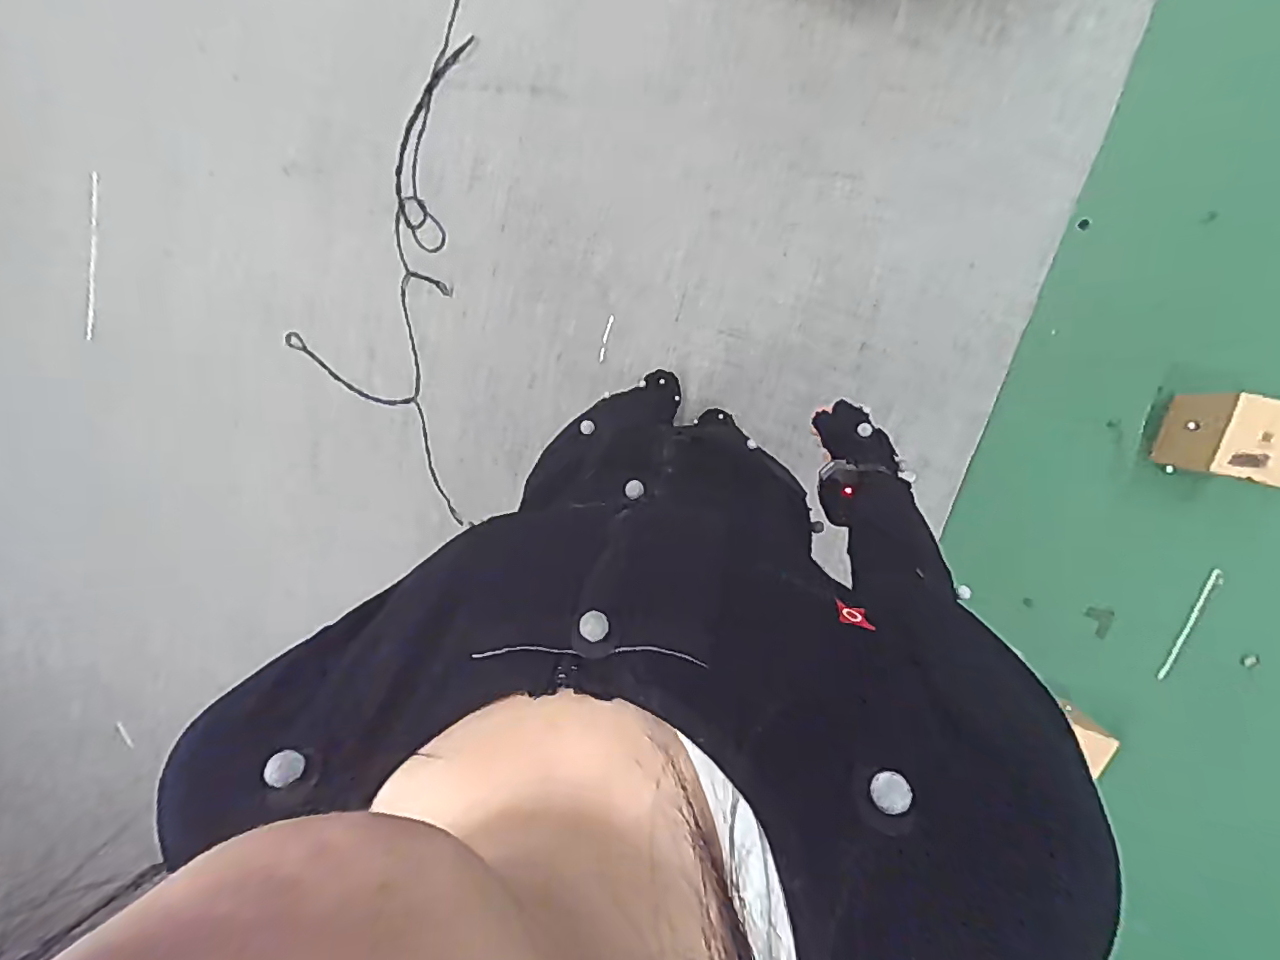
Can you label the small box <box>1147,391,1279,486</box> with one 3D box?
[{"bbox_3d":[1.327,-0.101,1.234,0.168,0.176,0.179,13,100,4],"label":"small box"}]
